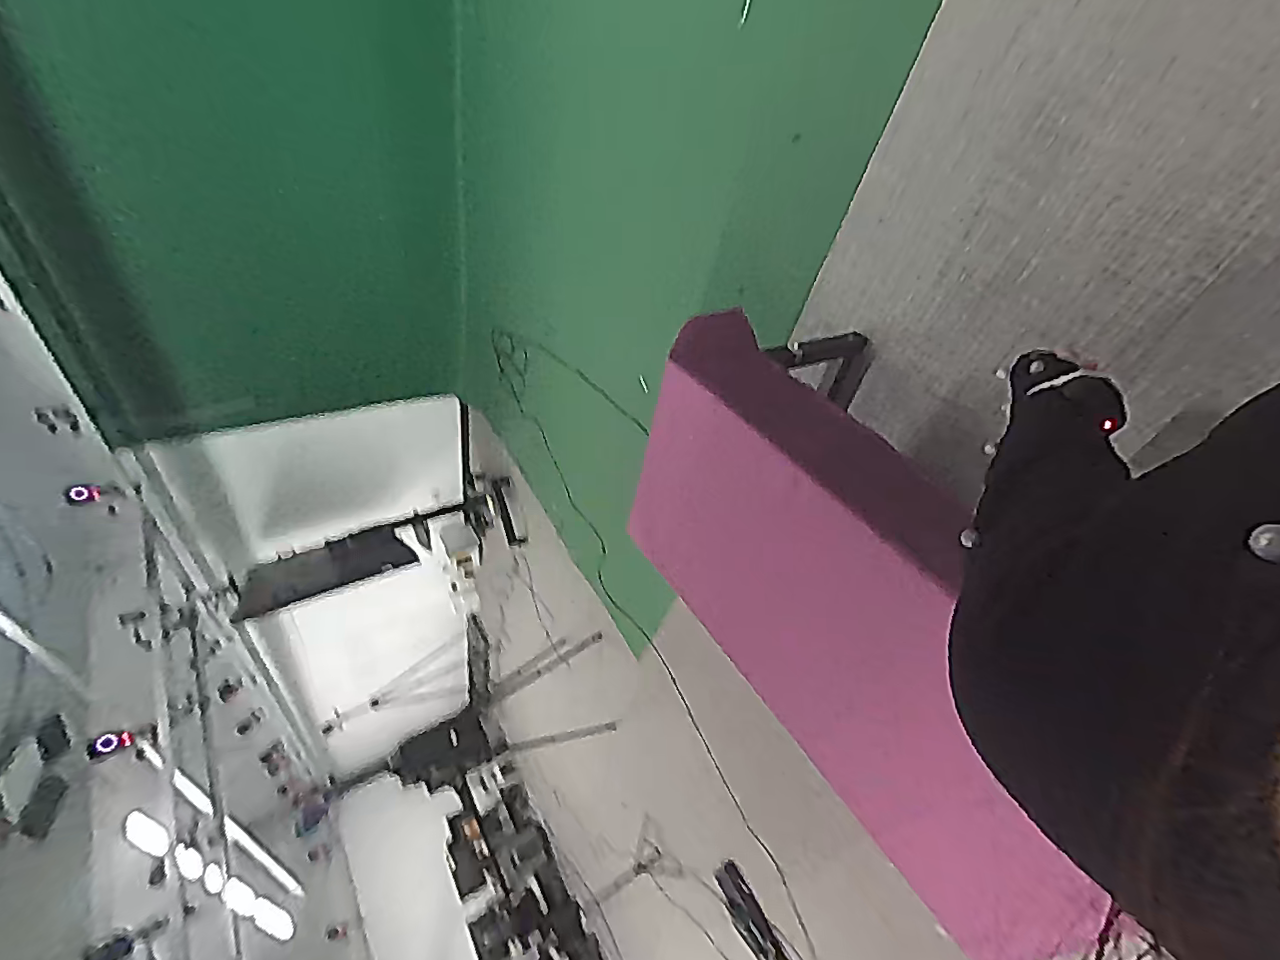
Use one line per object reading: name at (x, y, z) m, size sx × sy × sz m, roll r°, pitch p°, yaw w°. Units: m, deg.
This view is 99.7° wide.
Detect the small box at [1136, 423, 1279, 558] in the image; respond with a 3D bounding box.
small box at (1.121, 0.013, 1.032) m, size 0.168 × 0.176 × 0.179 m, roll 50°, pitch 141°, yaw 32°
